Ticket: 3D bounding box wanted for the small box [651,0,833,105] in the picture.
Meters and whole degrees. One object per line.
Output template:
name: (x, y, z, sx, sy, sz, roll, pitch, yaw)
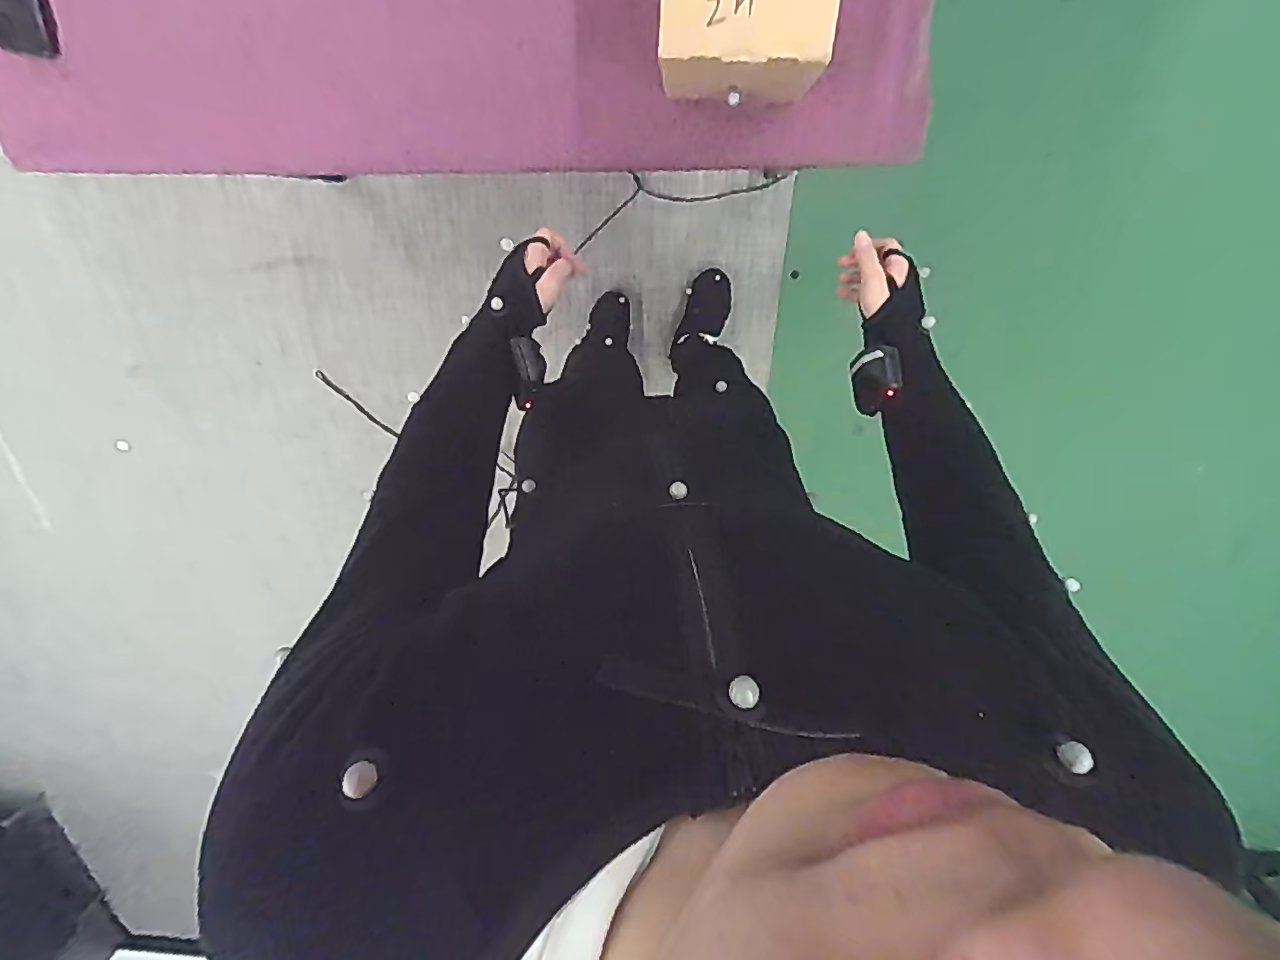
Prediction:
small box: (0.101, -0.506, 0.548, 0.168, 0.176, 0.179, 4, 114, 4)
